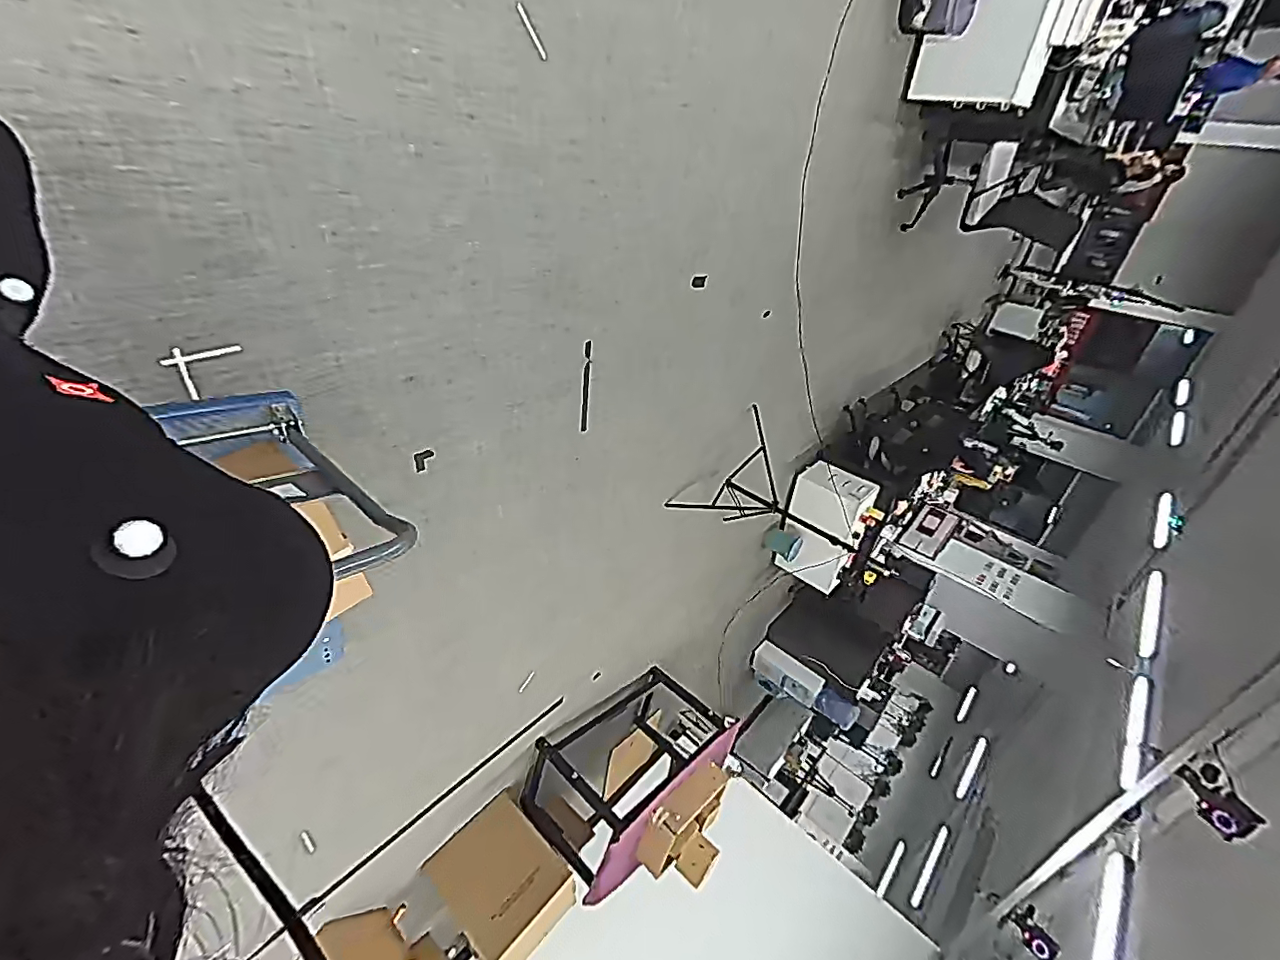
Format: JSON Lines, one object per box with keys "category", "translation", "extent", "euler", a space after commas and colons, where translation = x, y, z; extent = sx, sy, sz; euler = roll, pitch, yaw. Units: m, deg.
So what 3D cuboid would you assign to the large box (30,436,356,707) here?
{"category": "large box", "translation": [-0.904, 0.168, 1.138], "extent": [0.408, 0.320, 0.320], "euler": [-34, 139, -33]}
